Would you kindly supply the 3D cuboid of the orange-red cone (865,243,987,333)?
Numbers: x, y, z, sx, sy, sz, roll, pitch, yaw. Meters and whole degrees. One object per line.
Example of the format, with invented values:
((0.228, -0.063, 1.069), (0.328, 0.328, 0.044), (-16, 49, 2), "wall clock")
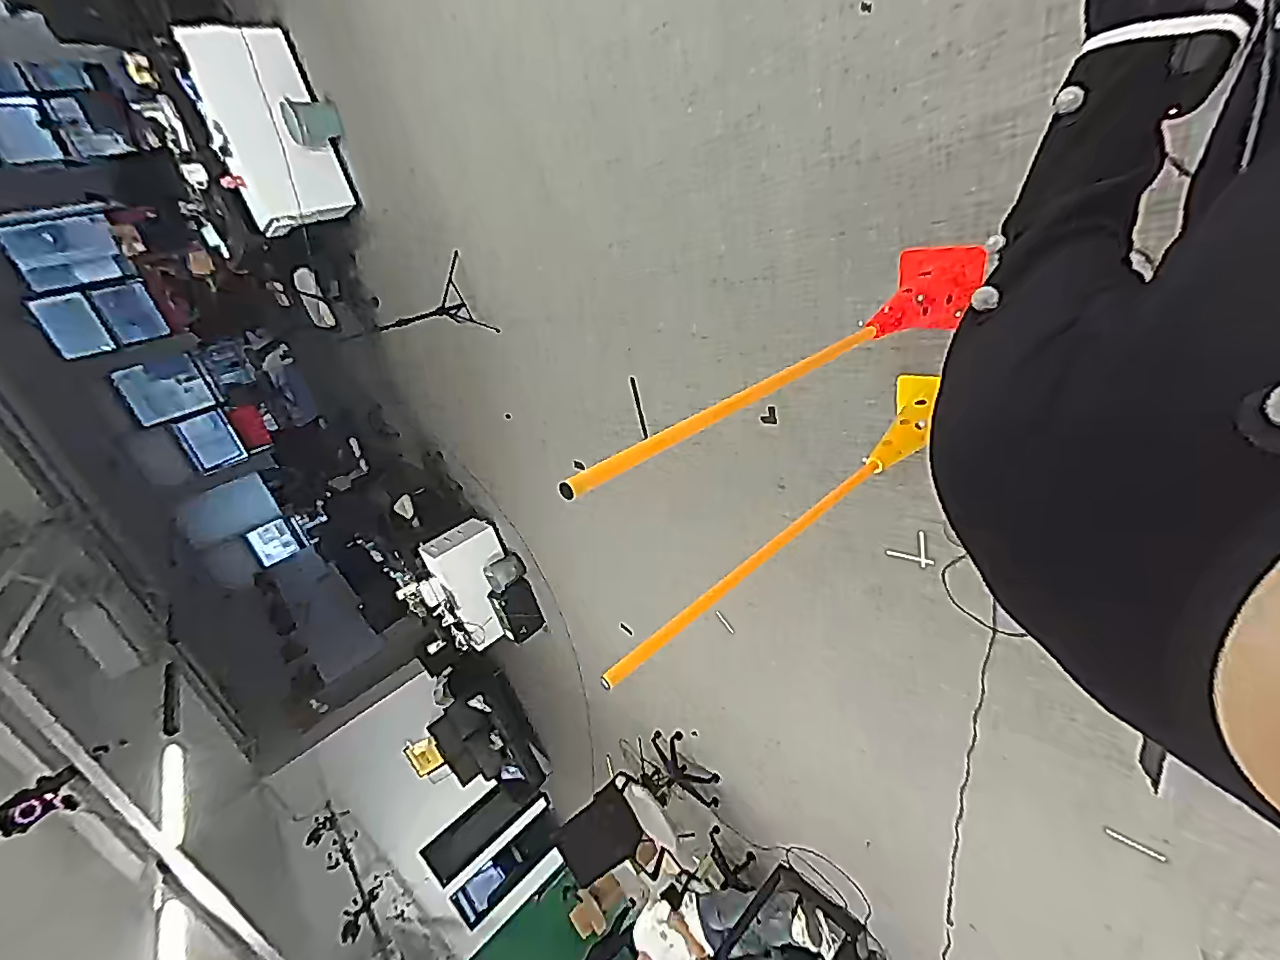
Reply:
((0.620, -0.410, 1.249), (0.198, 0.360, 0.199), (21, 131, 42), "orange-red cone")
